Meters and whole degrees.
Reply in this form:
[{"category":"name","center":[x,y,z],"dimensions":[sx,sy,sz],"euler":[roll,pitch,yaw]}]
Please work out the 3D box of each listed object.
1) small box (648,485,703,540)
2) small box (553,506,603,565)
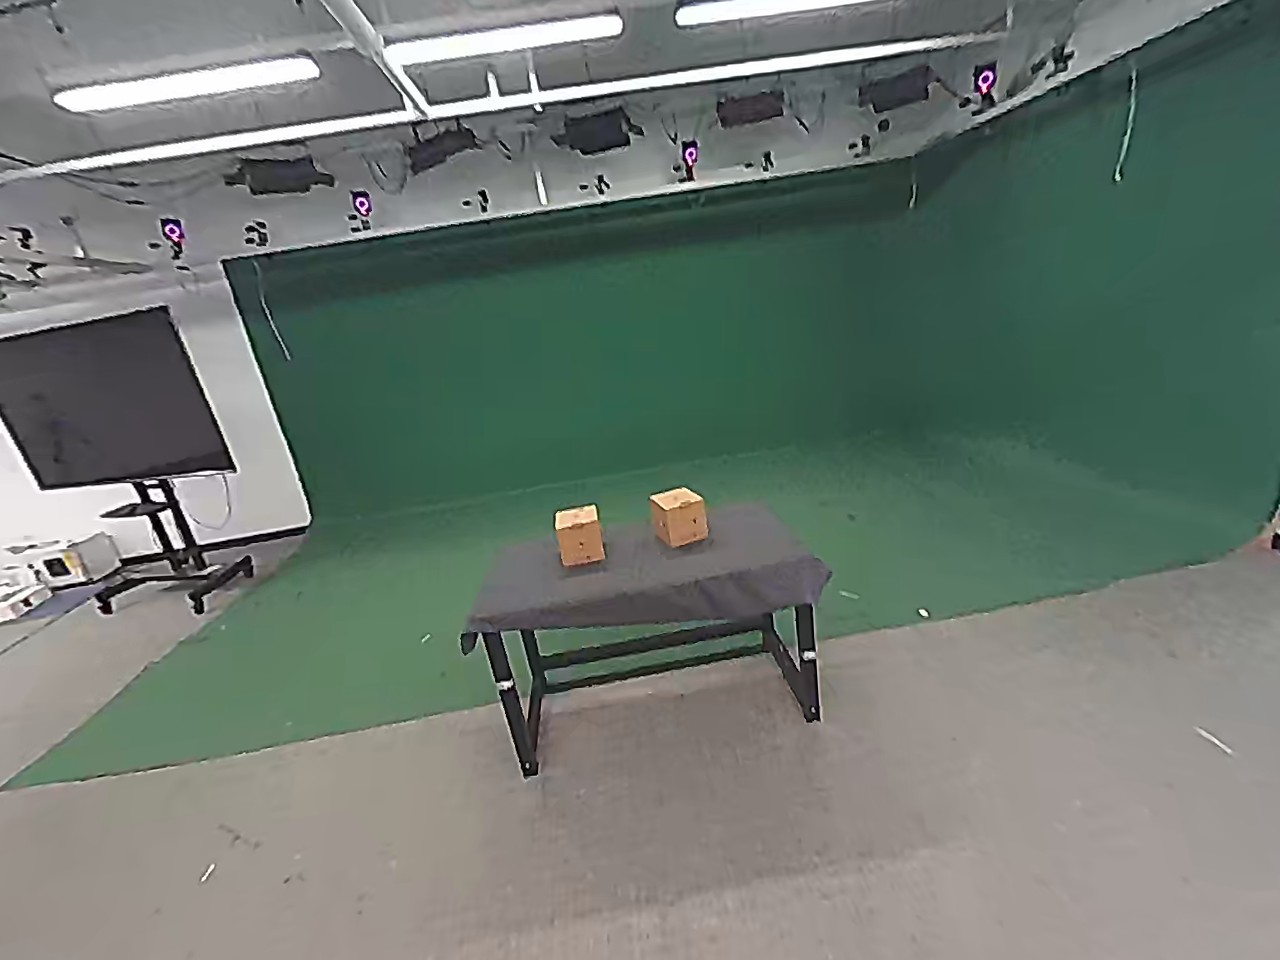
[{"category":"small box","center":[0.145,0.135,2.191],"dimensions":[0.168,0.176,0.179],"euler":[-12,18,-16]},{"category":"small box","center":[-0.249,0.227,2.167],"dimensions":[0.168,0.176,0.179],"euler":[-13,18,-7]}]
